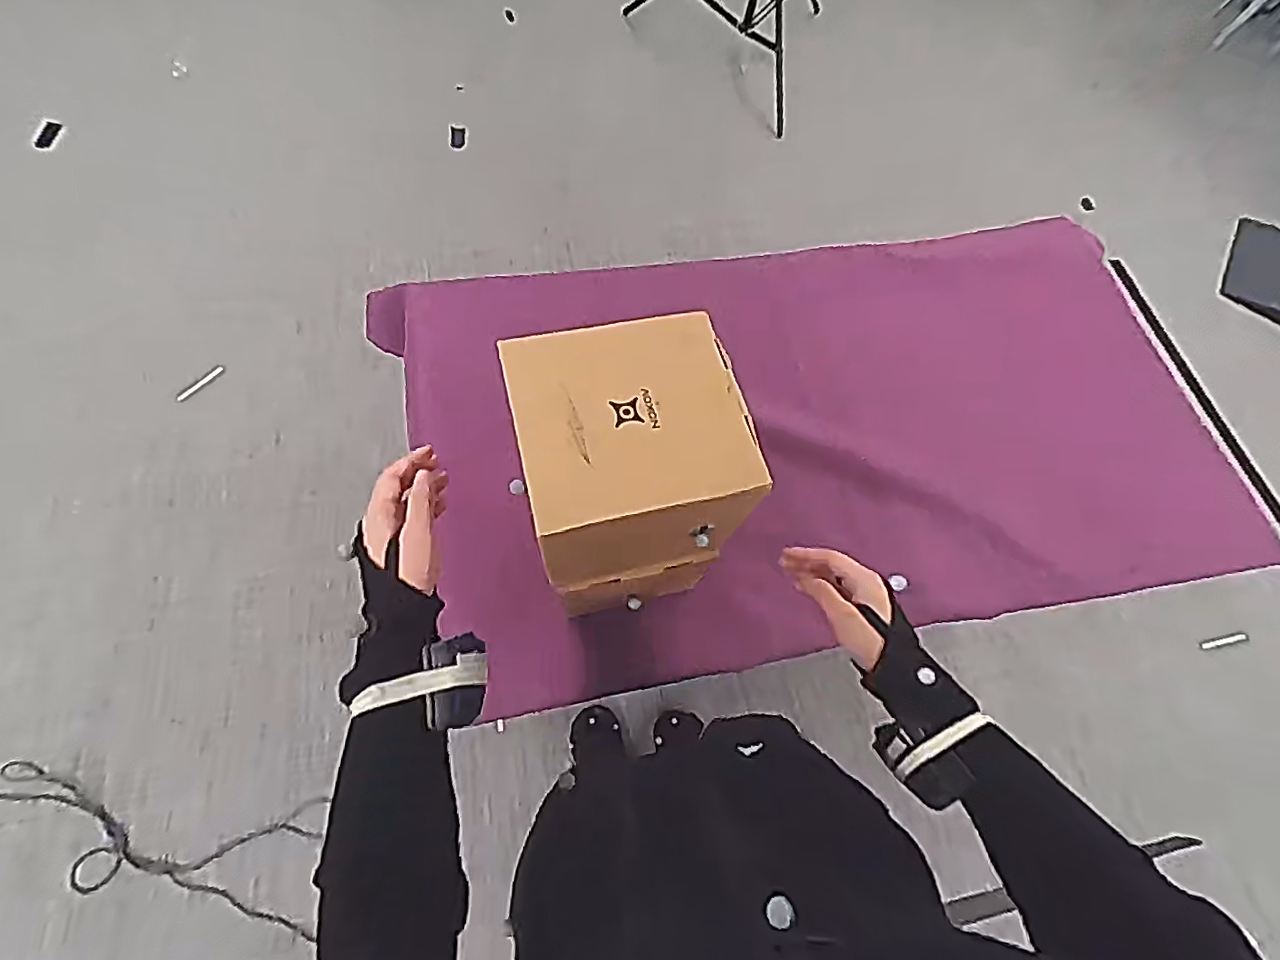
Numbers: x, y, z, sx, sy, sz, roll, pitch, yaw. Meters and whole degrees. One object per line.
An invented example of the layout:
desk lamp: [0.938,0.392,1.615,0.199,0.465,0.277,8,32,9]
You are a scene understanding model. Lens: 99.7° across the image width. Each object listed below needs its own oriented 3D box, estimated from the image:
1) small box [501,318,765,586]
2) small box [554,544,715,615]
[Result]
small box: [-0.016,-0.016,0.488,0.179,0.176,0.168,-13,68,-10]
small box: [-0.030,0.046,0.637,0.168,0.176,0.179,-11,69,-10]
